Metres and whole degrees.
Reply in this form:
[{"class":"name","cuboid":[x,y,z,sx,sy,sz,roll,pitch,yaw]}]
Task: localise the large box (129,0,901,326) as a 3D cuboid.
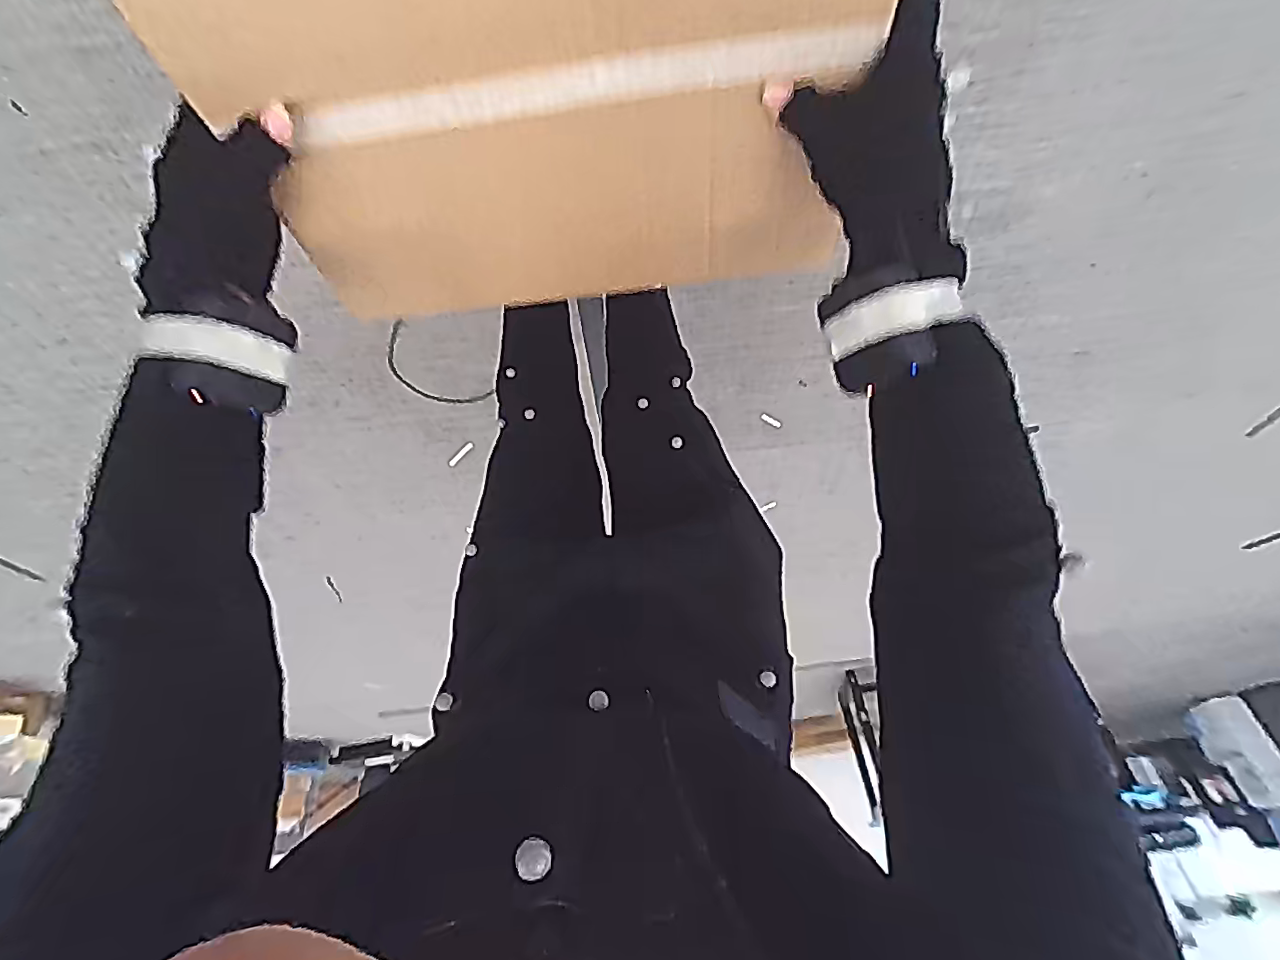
[{"class":"large box","cuboid":[-0.064,-0.356,0.398,0.408,0.320,0.320,-6,152,3]}]
